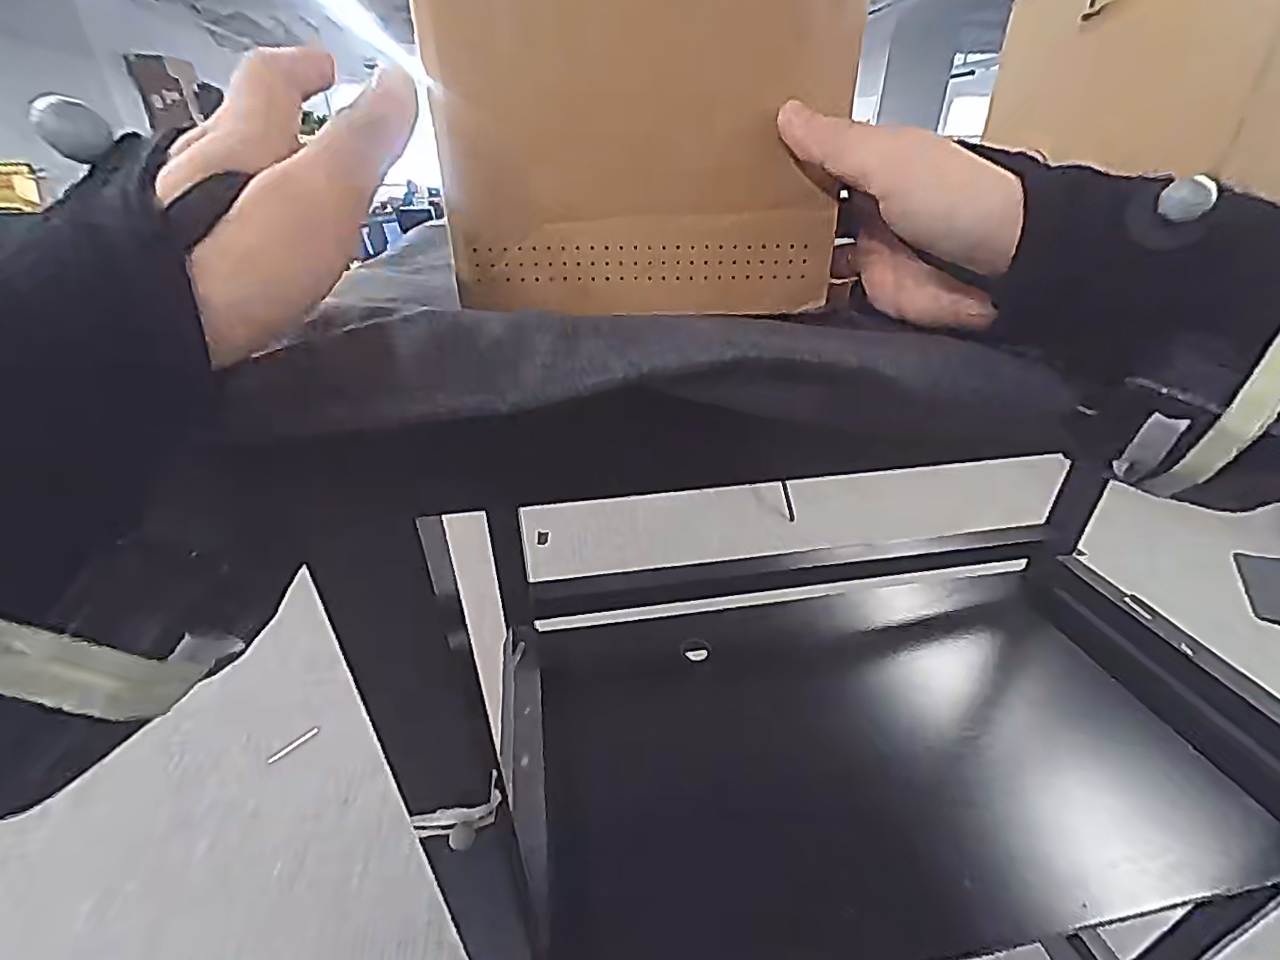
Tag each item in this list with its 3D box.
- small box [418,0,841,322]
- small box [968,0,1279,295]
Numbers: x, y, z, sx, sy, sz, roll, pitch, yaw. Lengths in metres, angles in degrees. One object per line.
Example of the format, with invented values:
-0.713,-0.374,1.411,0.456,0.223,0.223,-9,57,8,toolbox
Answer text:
-0.005,-0.184,0.291,0.179,0.176,0.168,-2,28,-3,small box
0.345,-0.217,0.342,0.179,0.176,0.168,-7,30,-12,small box
